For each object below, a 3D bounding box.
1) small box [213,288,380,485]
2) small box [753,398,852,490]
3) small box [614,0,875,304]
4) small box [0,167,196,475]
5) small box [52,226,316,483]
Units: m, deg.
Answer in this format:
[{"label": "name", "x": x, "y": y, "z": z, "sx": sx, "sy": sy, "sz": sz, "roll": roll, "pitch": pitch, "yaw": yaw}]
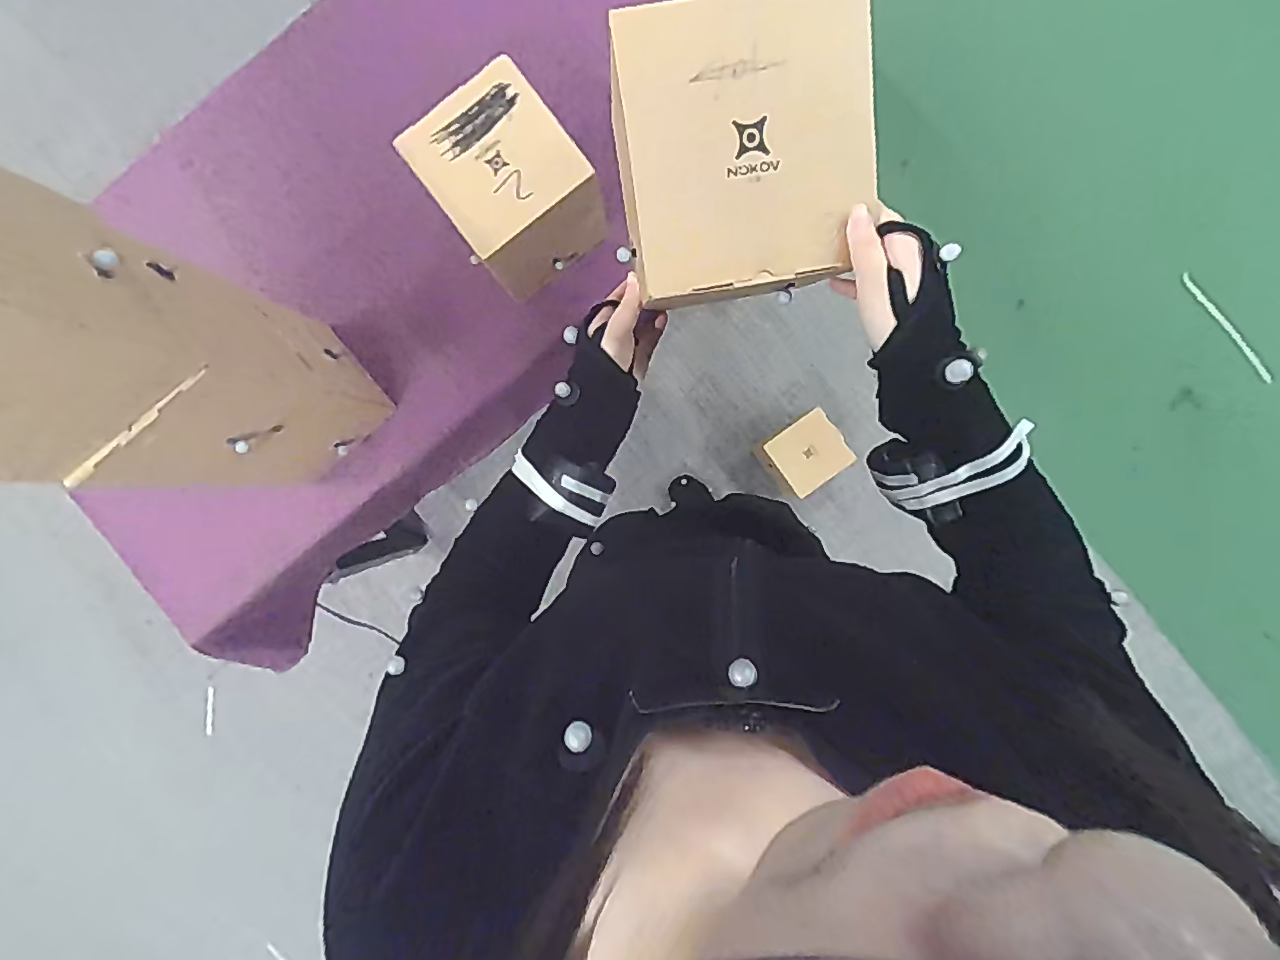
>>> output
[{"label": "small box", "x": -0.477, "y": -0.111, "z": 0.711, "sx": 0.179, "sy": 0.176, "sz": 0.168, "roll": -41, "pitch": 89, "yaw": 1}, {"label": "small box", "x": 0.413, "y": -0.090, "z": 1.420, "sx": 0.179, "sy": 0.176, "sz": 0.168, "roll": -36, "pitch": 91, "yaw": 1}, {"label": "small box", "x": 0.073, "y": -0.242, "z": 0.438, "sx": 0.168, "sy": 0.176, "sz": 0.179, "roll": -8, "pitch": 105, "yaw": 0}, {"label": "small box", "x": -0.485, "y": -0.113, "z": 0.382, "sx": 0.179, "sy": 0.176, "sz": 0.168, "roll": -38, "pitch": 90, "yaw": 1}, {"label": "small box", "x": -0.484, "y": -0.112, "z": 0.546, "sx": 0.168, "sy": 0.176, "sz": 0.179, "roll": -39, "pitch": 90, "yaw": 2}]
